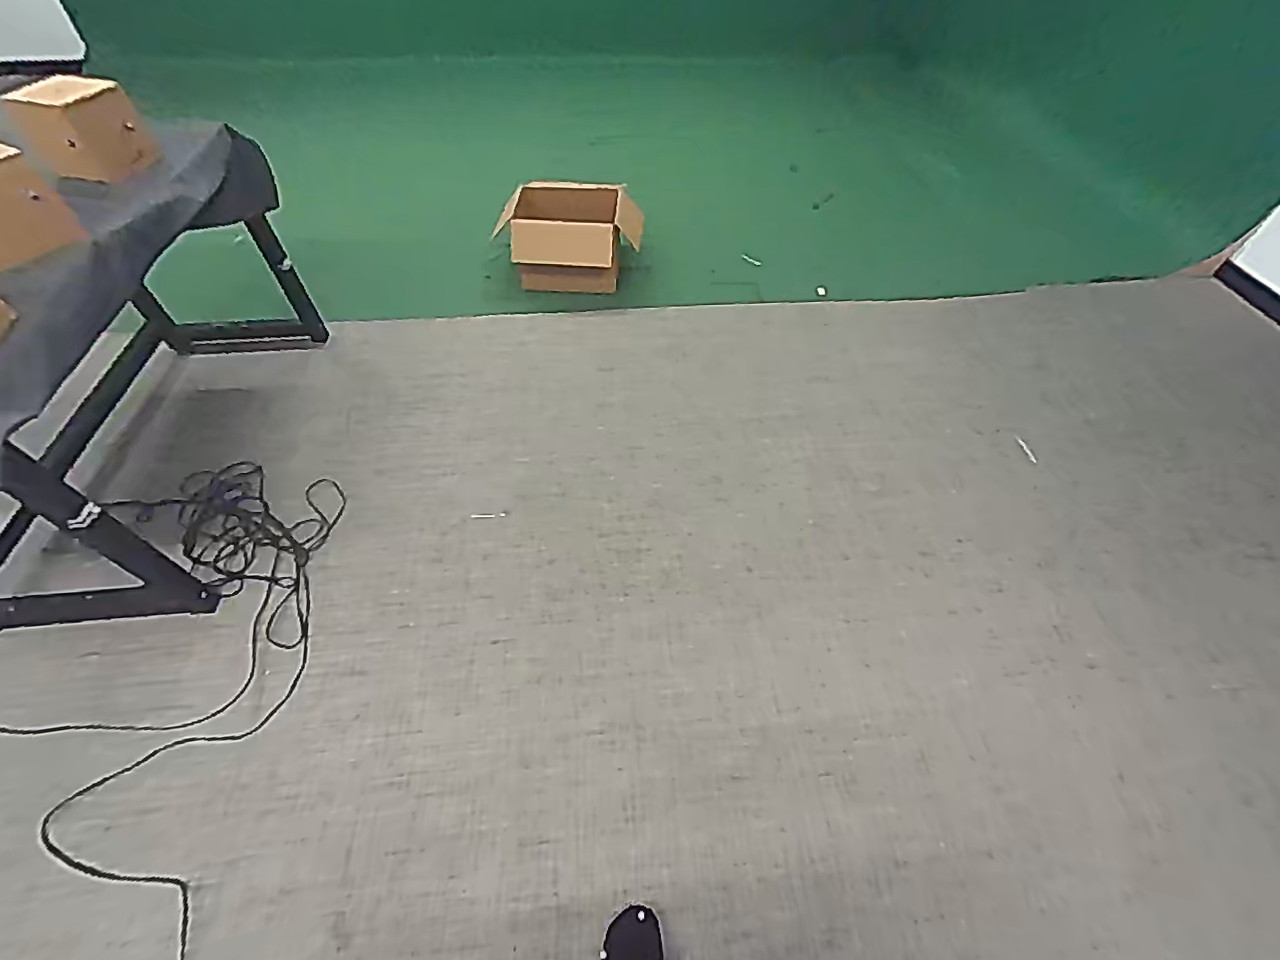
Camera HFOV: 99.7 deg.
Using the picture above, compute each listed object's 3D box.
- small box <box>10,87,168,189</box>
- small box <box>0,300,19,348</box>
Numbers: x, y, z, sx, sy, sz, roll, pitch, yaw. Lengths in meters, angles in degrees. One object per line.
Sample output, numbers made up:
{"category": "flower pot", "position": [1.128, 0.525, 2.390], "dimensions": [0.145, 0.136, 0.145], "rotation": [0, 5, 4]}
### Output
{"category": "small box", "position": [-1.339, -0.840, 1.333], "dimensions": [0.179, 0.176, 0.168], "rotation": [10, 51, 9]}
{"category": "small box", "position": [-1.196, -0.267, 0.875], "dimensions": [0.168, 0.176, 0.179], "rotation": [-8, 52, -4]}
